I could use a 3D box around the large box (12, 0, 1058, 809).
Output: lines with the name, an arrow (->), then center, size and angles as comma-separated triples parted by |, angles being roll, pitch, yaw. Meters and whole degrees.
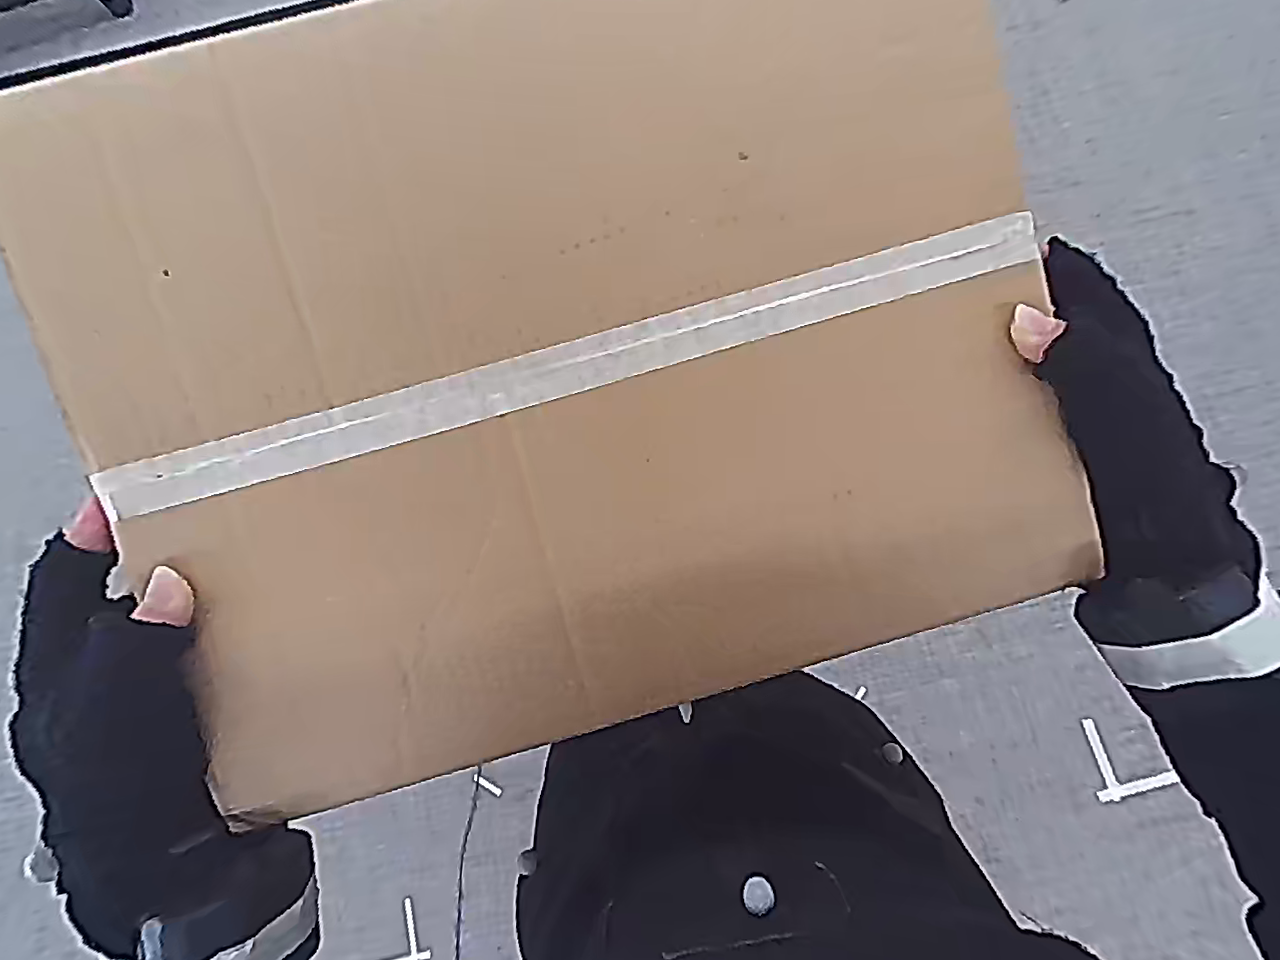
large box -> -0.033, -0.062, 0.388 | 0.408, 0.320, 0.320 | -16, 95, -2
